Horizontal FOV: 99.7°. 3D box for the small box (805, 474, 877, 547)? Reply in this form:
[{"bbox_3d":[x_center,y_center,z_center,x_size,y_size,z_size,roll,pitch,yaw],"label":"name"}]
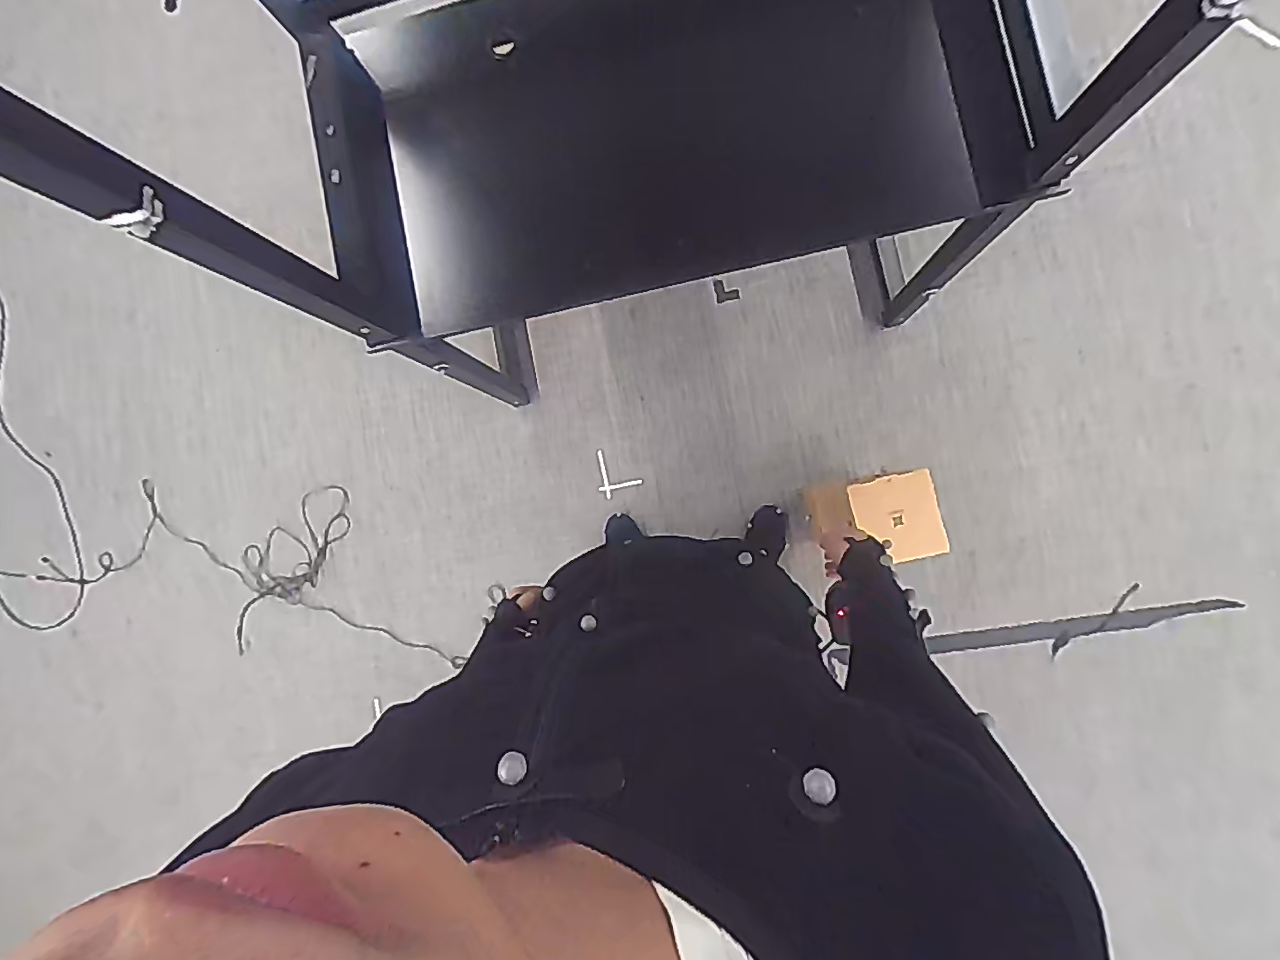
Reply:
[{"bbox_3d":[0.571,0.080,1.486,0.179,0.176,0.168,-13,87,8],"label":"small box"}]

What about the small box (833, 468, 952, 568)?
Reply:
[{"bbox_3d":[0.532,0.077,1.161,0.168,0.176,0.179,-14,87,7],"label":"small box"}]
